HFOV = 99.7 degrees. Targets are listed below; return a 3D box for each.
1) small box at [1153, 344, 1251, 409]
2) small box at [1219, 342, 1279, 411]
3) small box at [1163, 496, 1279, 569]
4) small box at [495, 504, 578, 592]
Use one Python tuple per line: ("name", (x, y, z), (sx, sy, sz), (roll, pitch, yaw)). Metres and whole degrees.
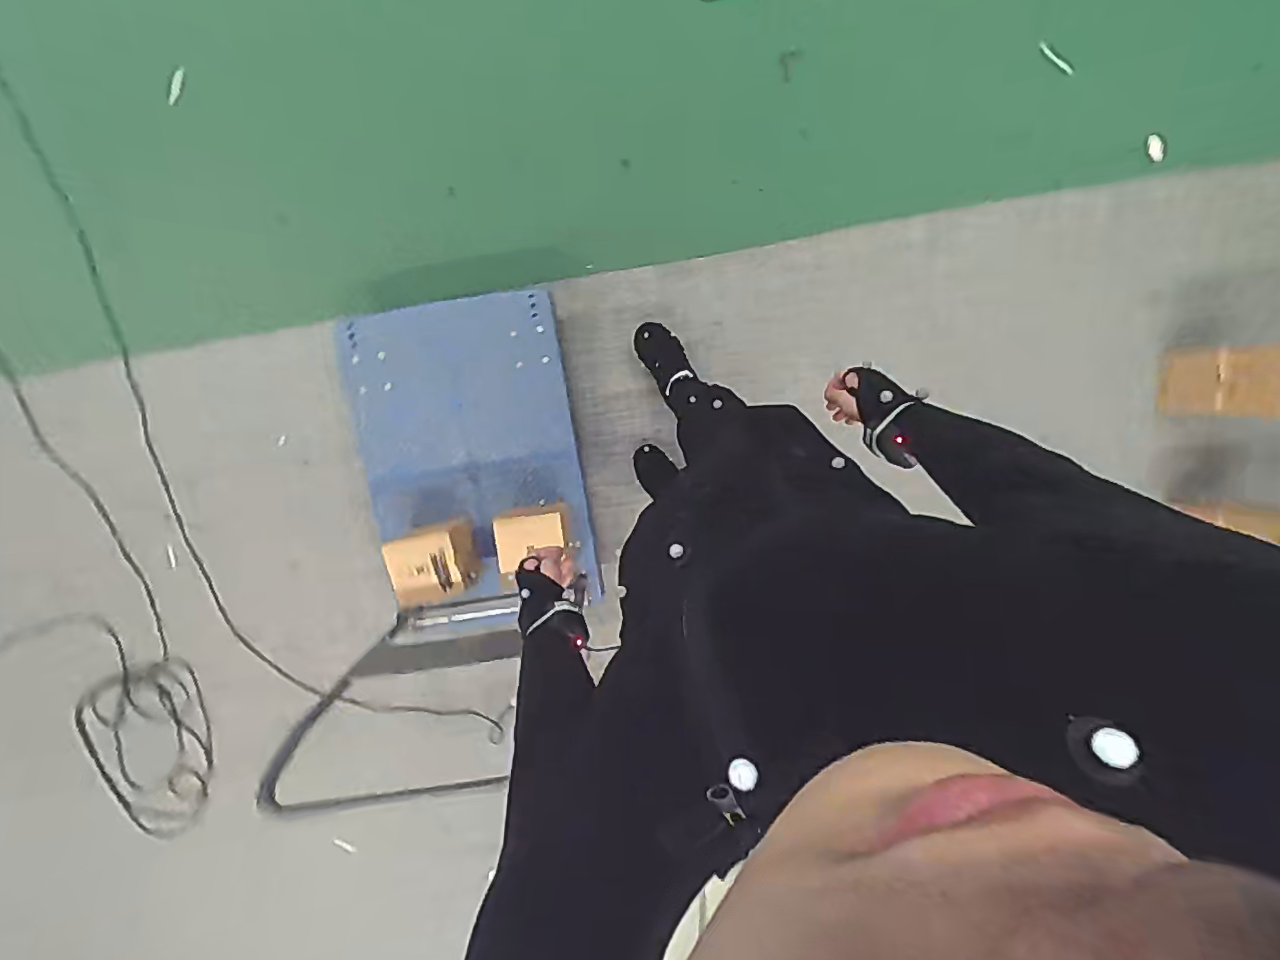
("small box", (1.594, -0.286, 1.510), (0.179, 0.176, 0.168), (-5, 98, 0))
("small box", (1.608, -0.259, 1.333), (0.179, 0.176, 0.168), (-5, 98, 1))
("small box", (1.659, 0.145, 1.549), (0.179, 0.176, 0.168), (-7, 98, 2))
("small box", (-0.258, 0.169, 1.386), (0.168, 0.176, 0.179), (-7, 97, 1))
